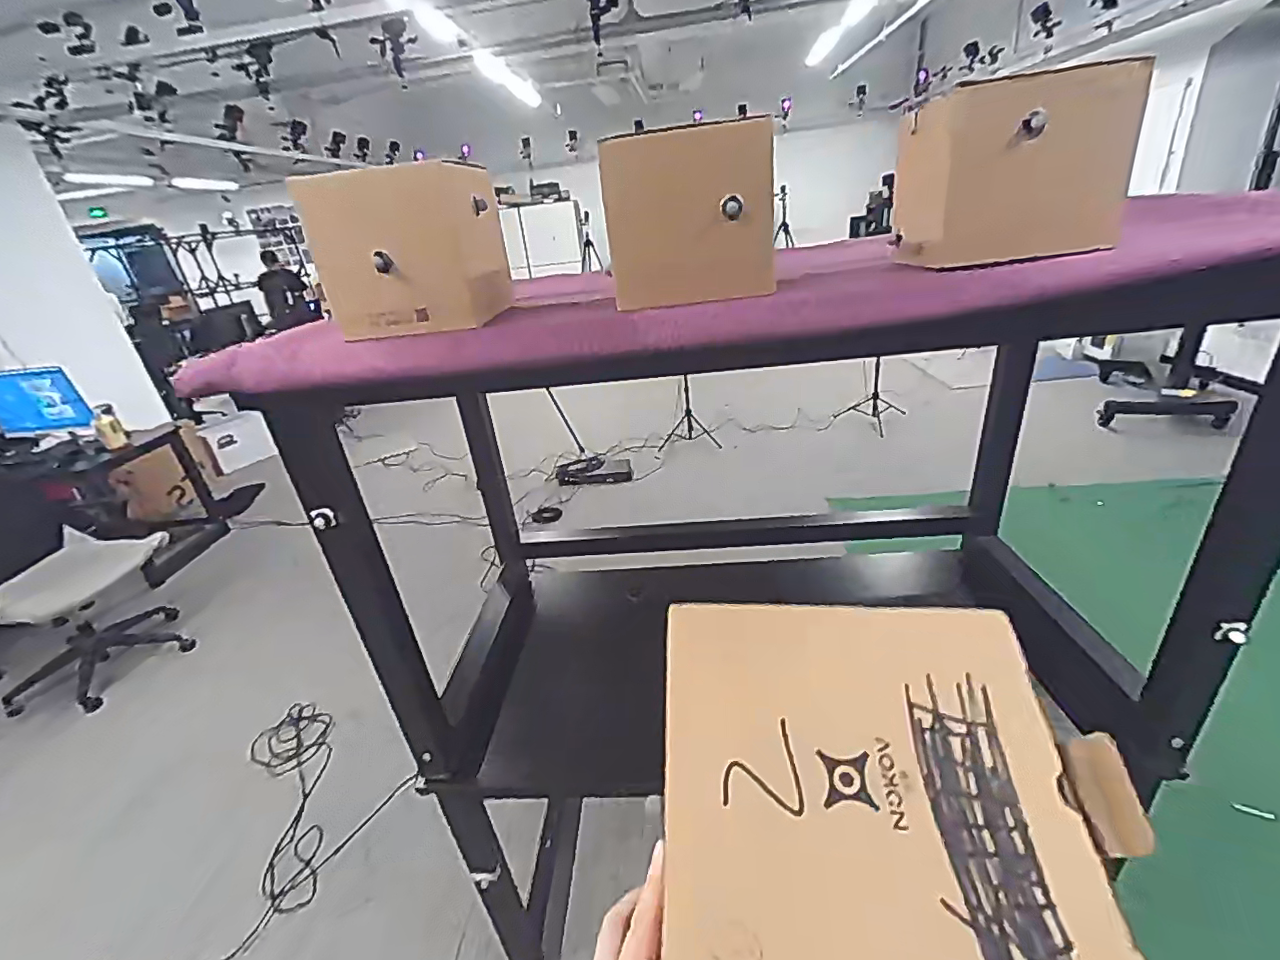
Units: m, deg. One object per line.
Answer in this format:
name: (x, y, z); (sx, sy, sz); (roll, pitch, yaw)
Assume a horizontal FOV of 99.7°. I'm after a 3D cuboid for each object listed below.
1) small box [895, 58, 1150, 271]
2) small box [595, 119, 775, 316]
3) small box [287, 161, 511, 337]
small box: (0.401, -0.335, 0.607); (0.179, 0.176, 0.168); (-4, 24, 7)
small box: (0.055, -0.296, 0.624); (0.179, 0.176, 0.168); (-6, 26, 5)
small box: (-0.265, -0.272, 0.648); (0.168, 0.176, 0.179); (-3, 27, 5)
